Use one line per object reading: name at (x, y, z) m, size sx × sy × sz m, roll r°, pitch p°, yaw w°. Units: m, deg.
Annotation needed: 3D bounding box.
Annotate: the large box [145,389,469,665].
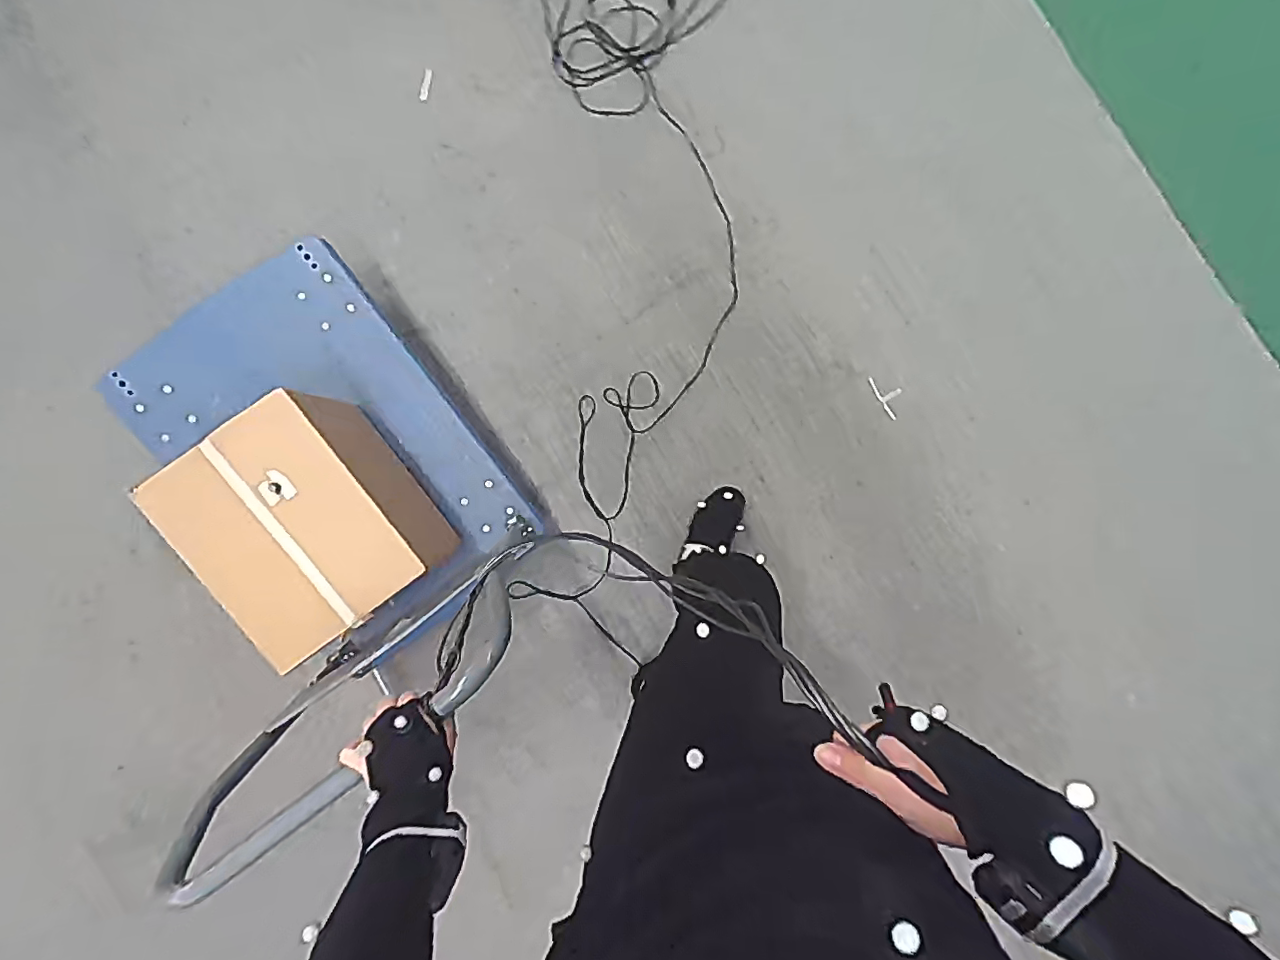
large box at (-0.622, 0.080, 1.096) m, size 0.320 × 0.320 × 0.408 m, roll -37°, pitch 95°, yaw -4°
